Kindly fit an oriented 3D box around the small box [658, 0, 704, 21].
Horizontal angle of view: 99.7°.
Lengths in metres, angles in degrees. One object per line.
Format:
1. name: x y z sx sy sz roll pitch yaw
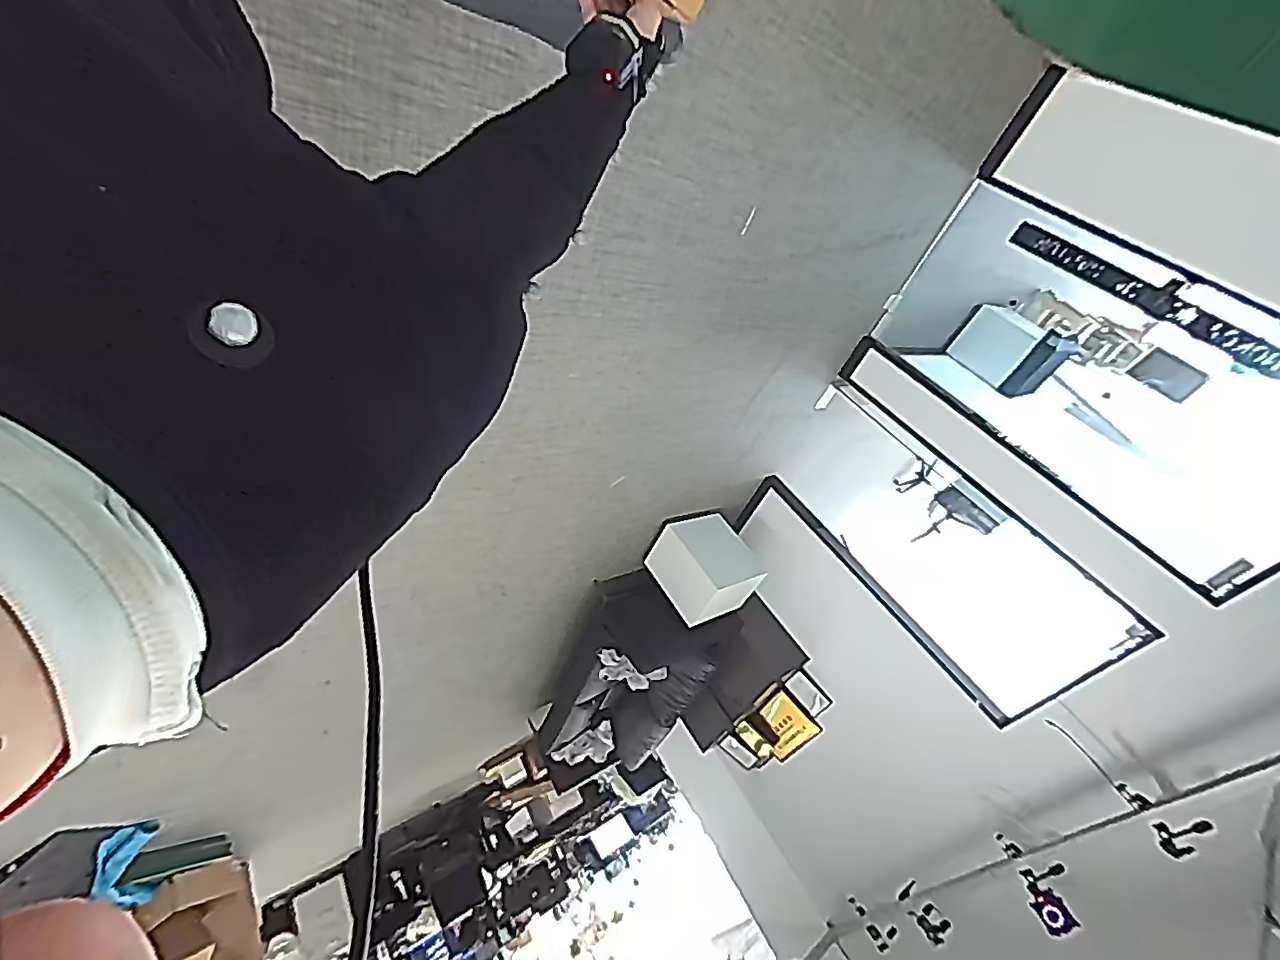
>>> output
1. small box: 0.006 -0.639 0.556 0.168 0.176 0.179 1 130 -51
